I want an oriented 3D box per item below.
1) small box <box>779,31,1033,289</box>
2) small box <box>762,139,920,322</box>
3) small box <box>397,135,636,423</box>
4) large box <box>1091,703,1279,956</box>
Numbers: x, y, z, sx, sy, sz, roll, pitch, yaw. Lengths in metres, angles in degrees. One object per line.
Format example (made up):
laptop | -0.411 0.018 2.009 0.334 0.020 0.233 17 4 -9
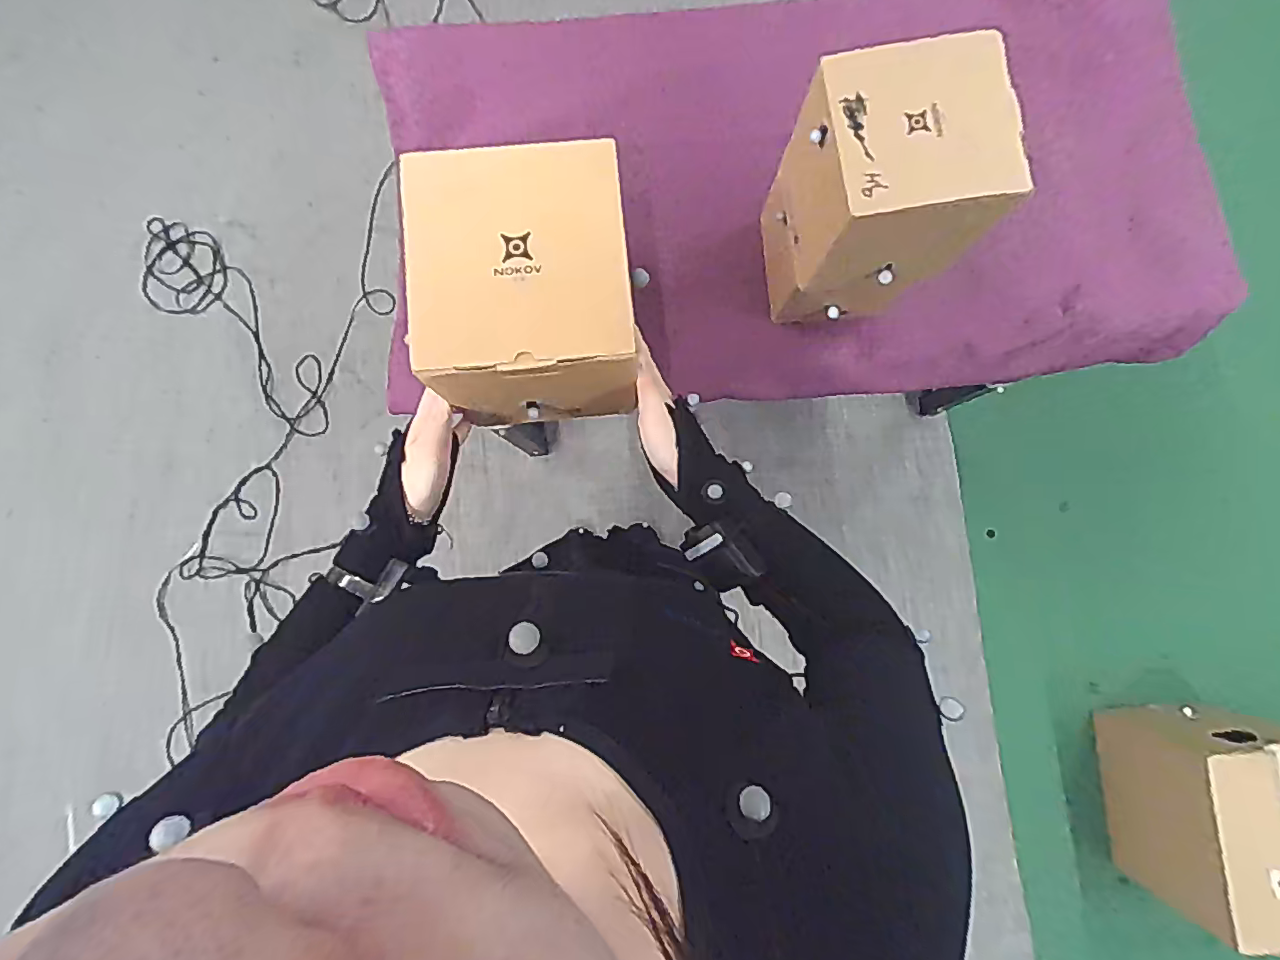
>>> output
small box | 0.265 -0.324 0.580 0.179 0.176 0.168 -8 85 -1
small box | 0.272 -0.337 0.745 0.168 0.176 0.179 -4 85 0
small box | -0.095 -0.158 0.472 0.168 0.176 0.179 -6 84 -3
large box | 1.376 0.796 1.291 0.320 0.320 0.408 -4 85 0
